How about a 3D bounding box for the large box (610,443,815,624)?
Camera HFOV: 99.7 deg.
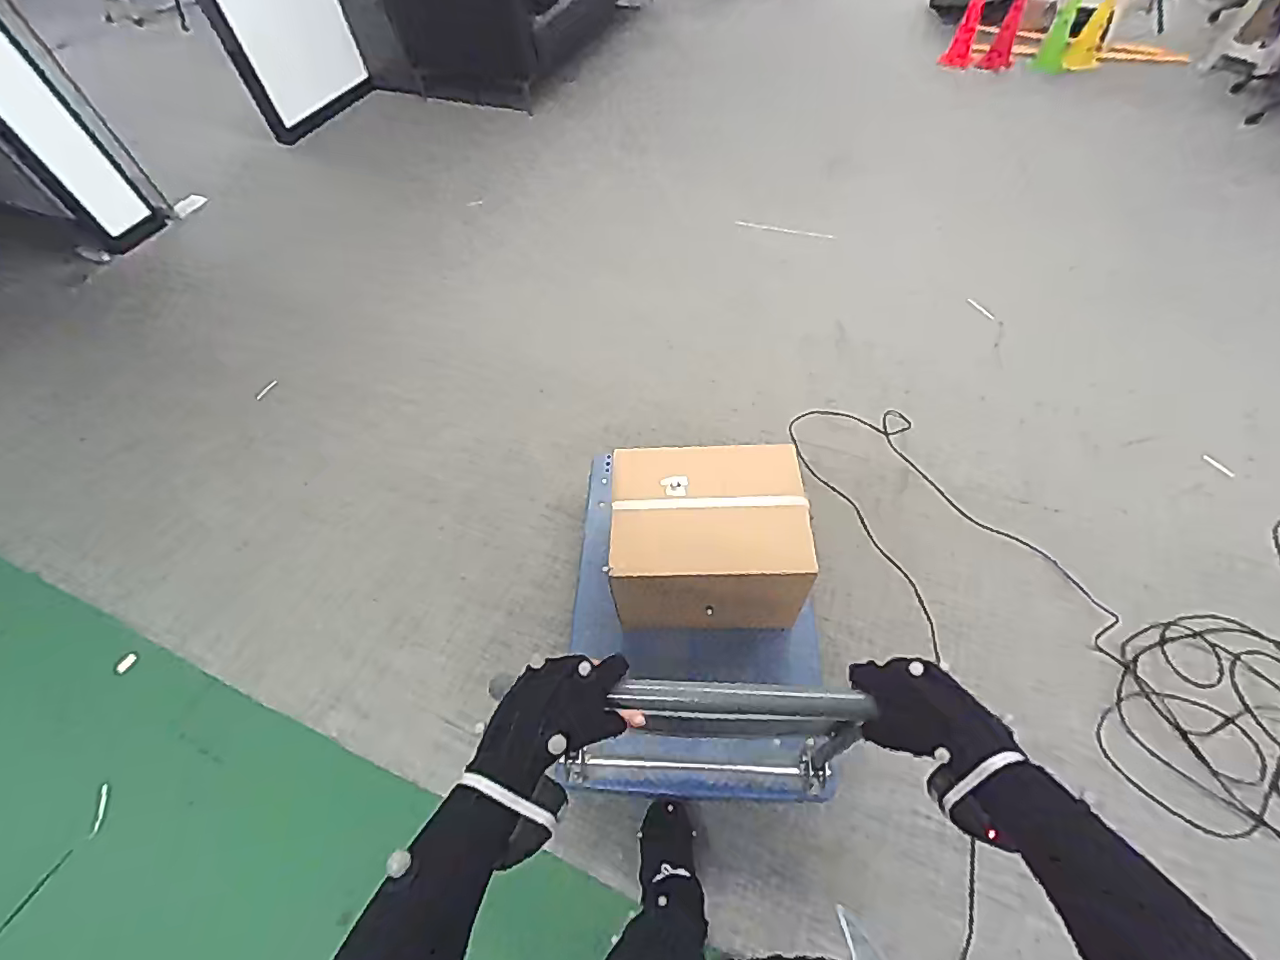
[{"bbox_3d":[0.150,0.135,1.250,0.408,0.320,0.320,-2,55,3],"label":"large box"}]
